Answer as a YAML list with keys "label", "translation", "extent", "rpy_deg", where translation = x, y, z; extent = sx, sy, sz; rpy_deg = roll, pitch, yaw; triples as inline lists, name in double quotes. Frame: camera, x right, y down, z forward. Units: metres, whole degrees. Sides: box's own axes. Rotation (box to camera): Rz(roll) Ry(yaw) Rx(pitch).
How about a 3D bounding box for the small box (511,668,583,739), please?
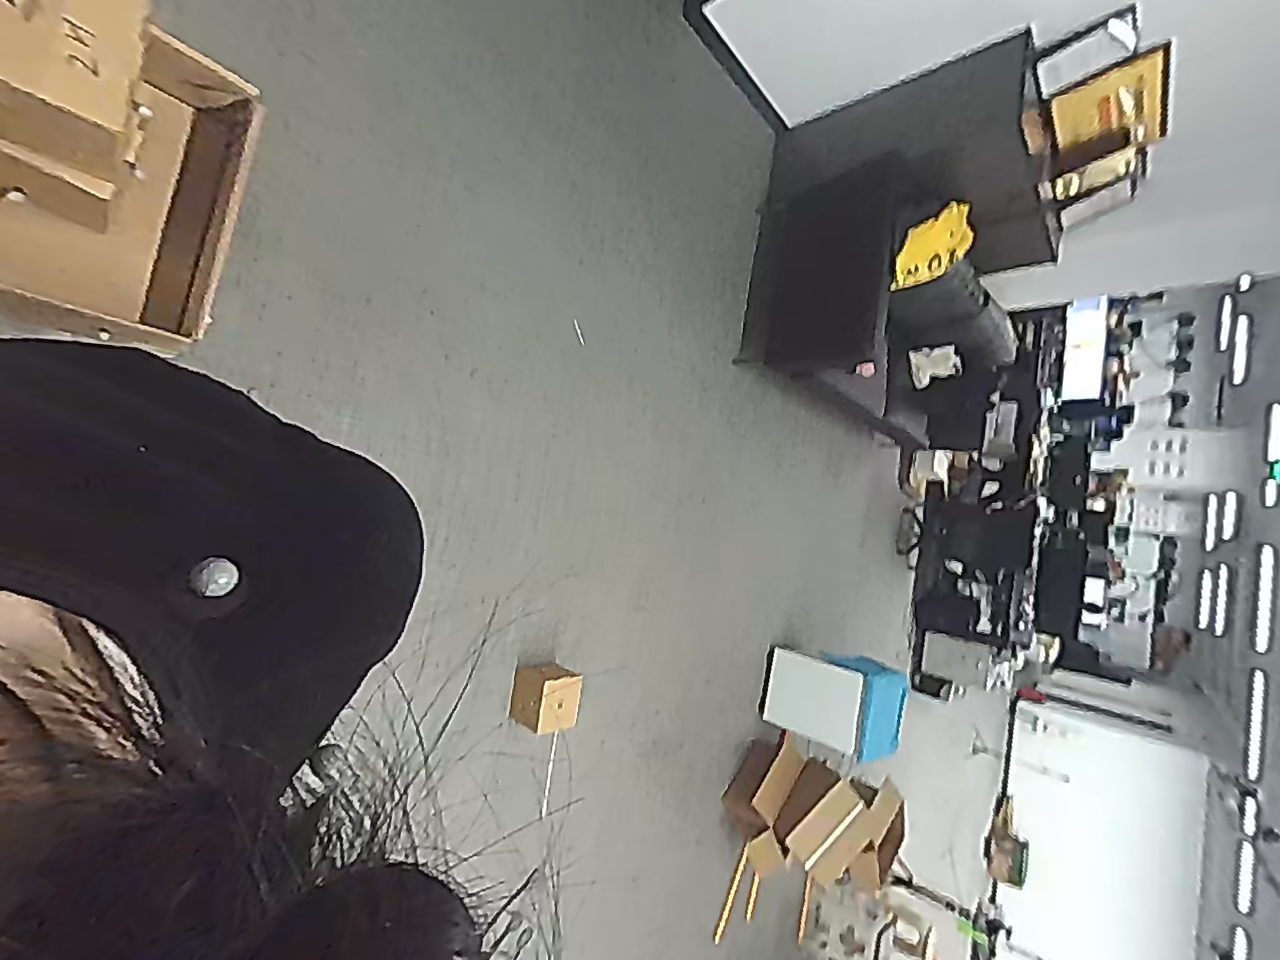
- label: "small box"
  translation: [-0.323, 0.755, 1.851]
  extent: [0.168, 0.176, 0.179]
  rpy_deg: [13, 84, -46]
